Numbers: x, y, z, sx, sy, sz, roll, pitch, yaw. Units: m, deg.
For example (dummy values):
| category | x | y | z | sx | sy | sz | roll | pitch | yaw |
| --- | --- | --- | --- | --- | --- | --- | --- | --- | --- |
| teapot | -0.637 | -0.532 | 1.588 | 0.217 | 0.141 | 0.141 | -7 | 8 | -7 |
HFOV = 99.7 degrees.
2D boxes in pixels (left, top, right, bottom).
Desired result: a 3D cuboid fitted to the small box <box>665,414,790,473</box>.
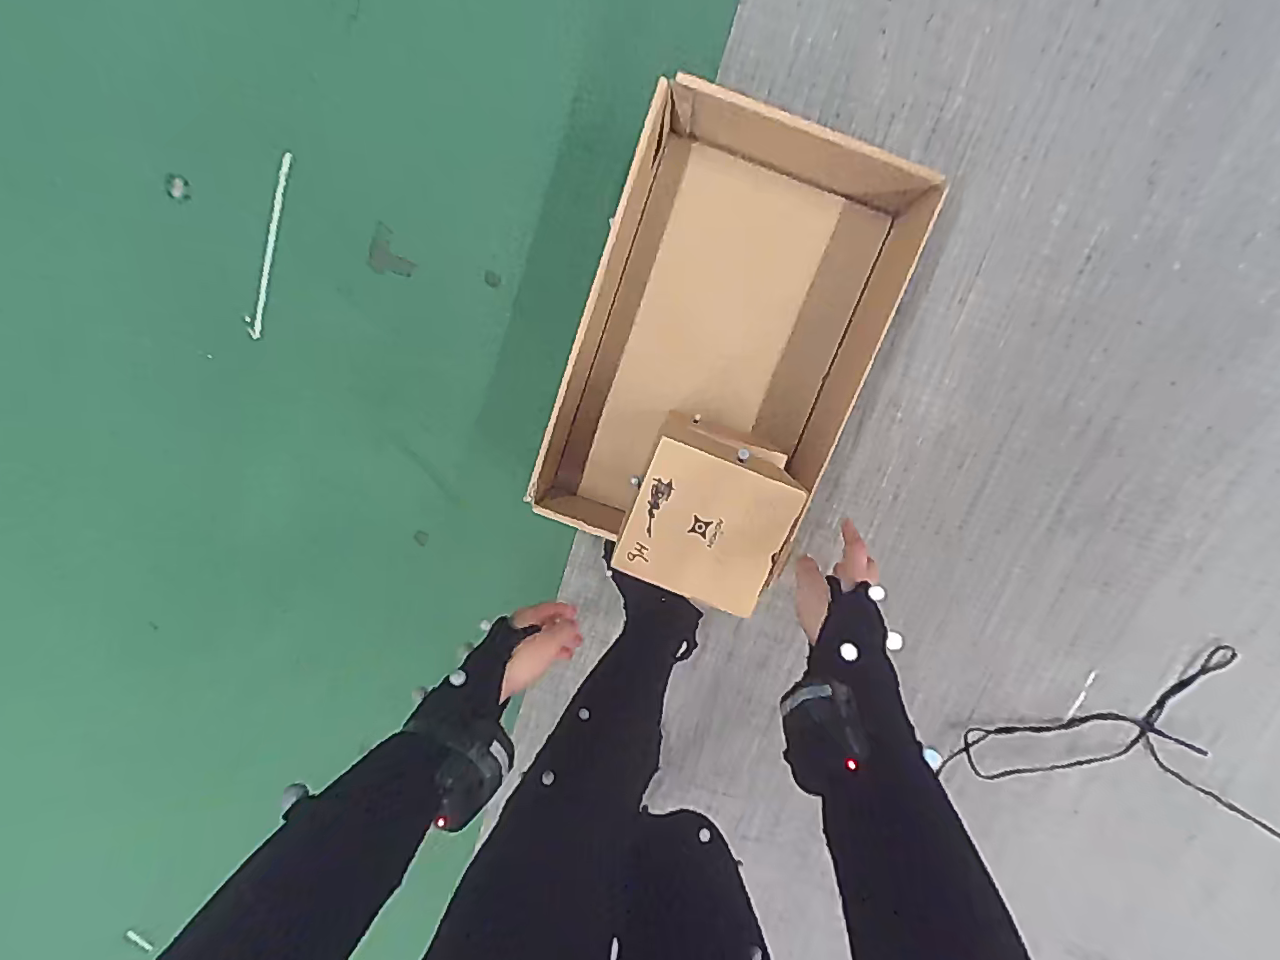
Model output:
| category | x | y | z | sx | sy | sz | roll | pitch | yaw |
| --- | --- | --- | --- | --- | --- | --- | --- | --- | --- |
| small box | 0.104 | 0.000 | 0.836 | 0.179 | 0.176 | 0.168 | 16 | 102 | -2 |

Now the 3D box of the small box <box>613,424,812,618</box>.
| category | x | y | z | sx | sy | sz | roll | pitch | yaw |
| --- | --- | --- | --- | --- | --- | --- | --- | --- | --- |
| small box | 0.081 | 0.038 | 0.678 | 0.179 | 0.176 | 0.168 | 22 | 102 | -3 |
